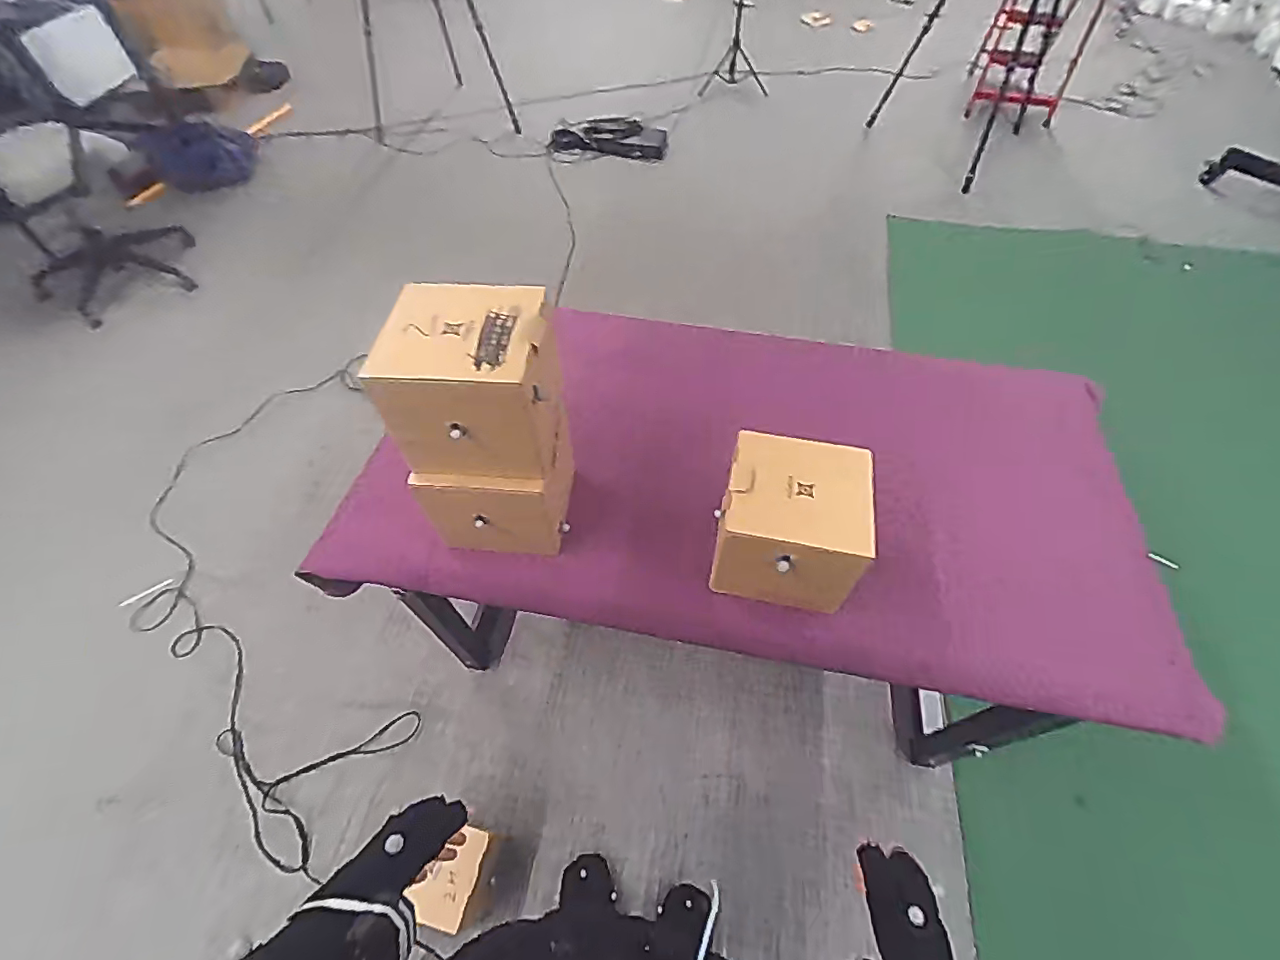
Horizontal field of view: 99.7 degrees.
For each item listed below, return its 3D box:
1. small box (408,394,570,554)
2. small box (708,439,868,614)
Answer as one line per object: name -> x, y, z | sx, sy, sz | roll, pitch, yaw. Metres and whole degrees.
small box -> -0.204, -0.003, 0.794 | 0.179, 0.176, 0.168 | 5, 54, 2
small box -> 0.199, 0.070, 0.750 | 0.179, 0.176, 0.168 | 10, 55, 8
